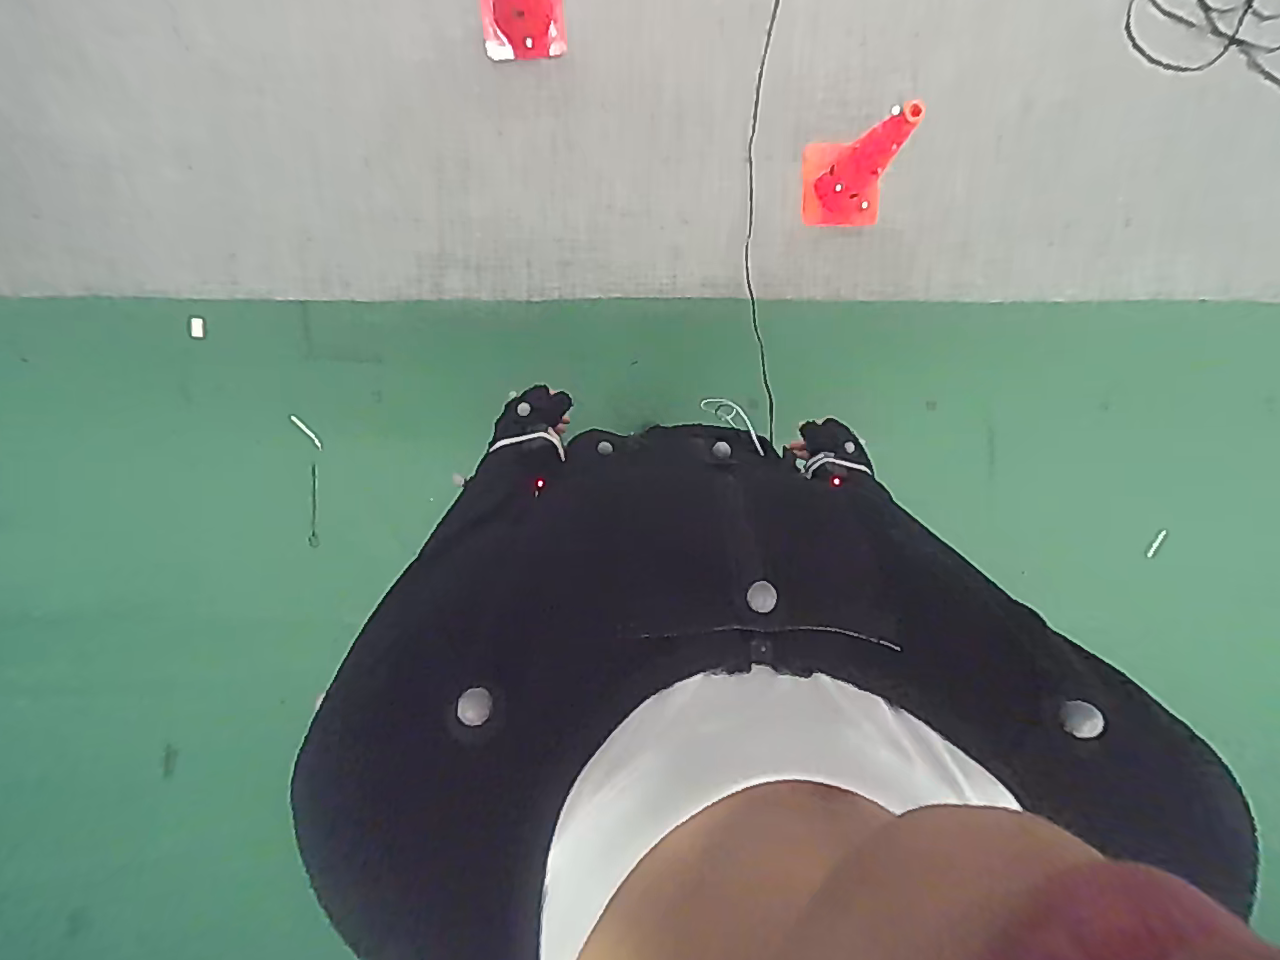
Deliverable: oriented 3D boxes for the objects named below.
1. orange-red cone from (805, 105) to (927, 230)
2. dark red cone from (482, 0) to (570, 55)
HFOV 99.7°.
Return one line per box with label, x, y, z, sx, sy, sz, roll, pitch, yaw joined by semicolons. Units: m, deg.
orange-red cone;0.535;-0.737;1.232;0.198;0.360;0.199;0;96;-3
dark red cone;-0.270;-1.111;1.137;0.202;0.394;0.201;-6;98;-1
